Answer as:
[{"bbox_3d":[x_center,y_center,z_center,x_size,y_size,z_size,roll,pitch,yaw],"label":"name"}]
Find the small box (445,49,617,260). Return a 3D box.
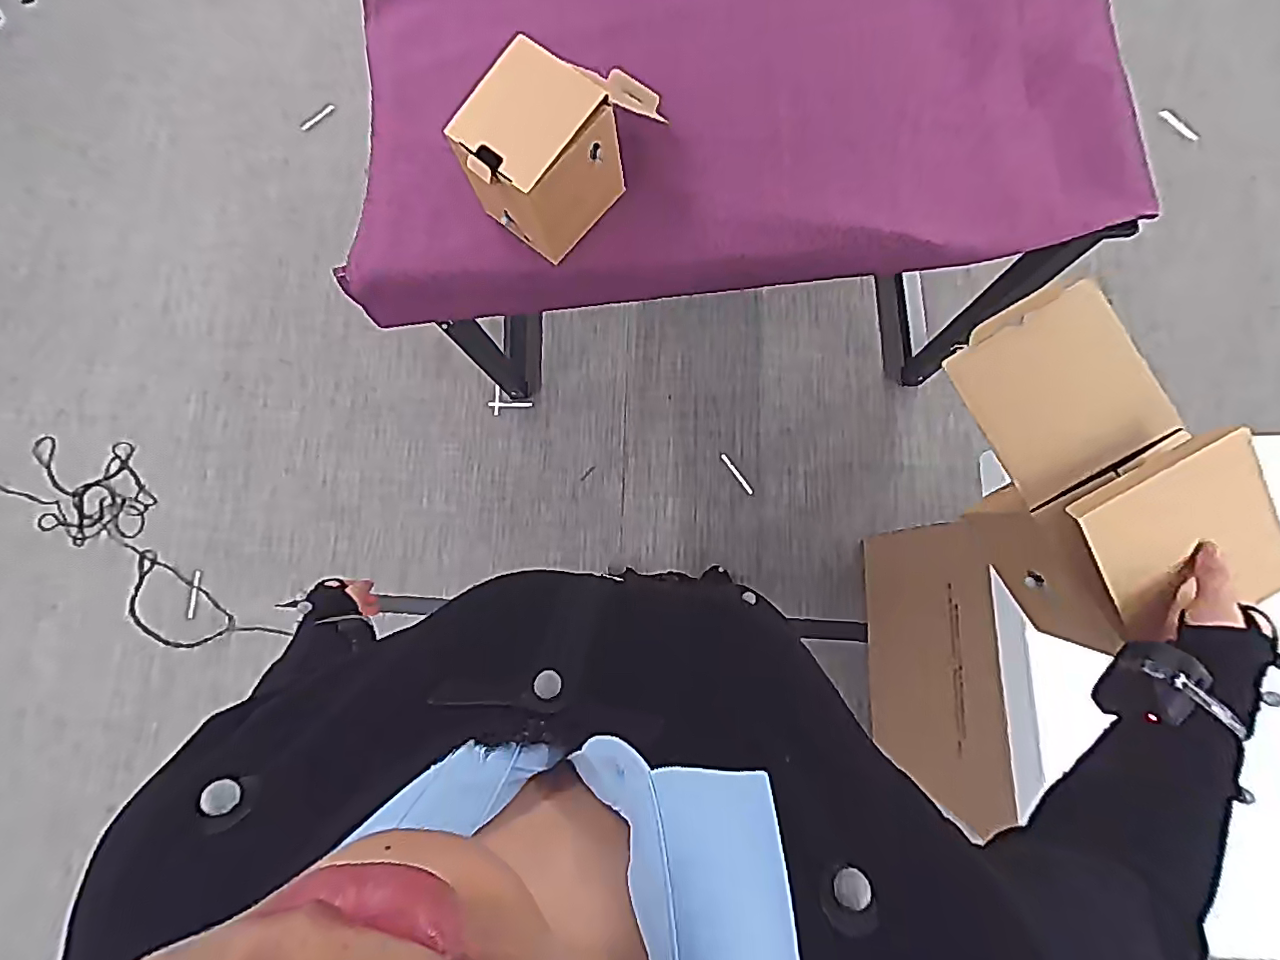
[{"bbox_3d":[-0.149,-0.479,0.817,0.168,0.176,0.179,40,85,11],"label":"small box"}]
